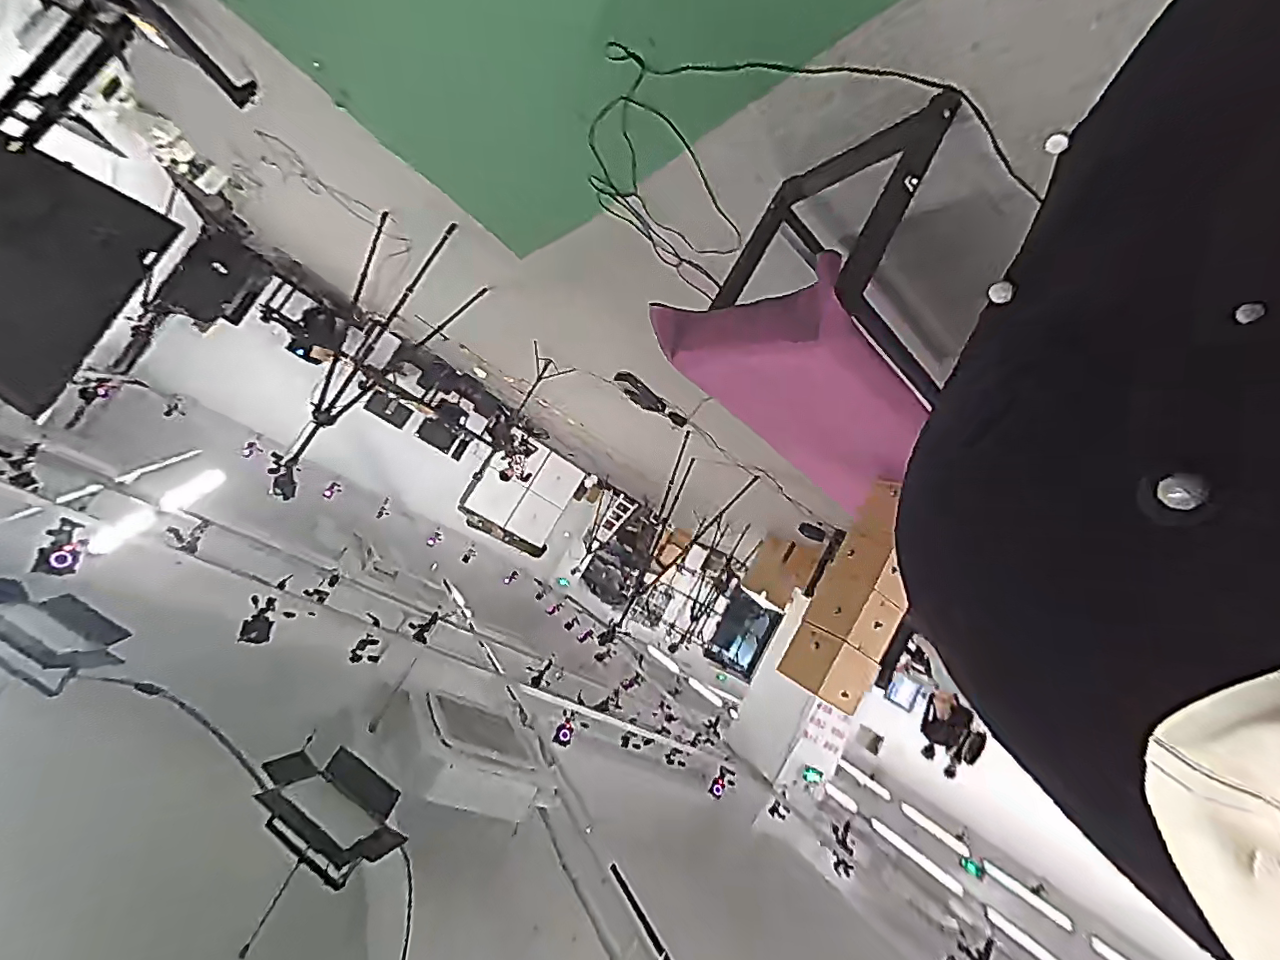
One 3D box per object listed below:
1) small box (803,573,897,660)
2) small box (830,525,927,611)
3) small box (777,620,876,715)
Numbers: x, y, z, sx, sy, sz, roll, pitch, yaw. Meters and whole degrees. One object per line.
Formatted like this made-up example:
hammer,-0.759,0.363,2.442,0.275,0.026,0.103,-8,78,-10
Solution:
small box,0.618,0.390,1.574,0.168,0.176,0.179,36,170,-26
small box,0.704,0.252,1.592,0.179,0.176,0.168,35,171,-28
small box,0.536,0.530,1.546,0.179,0.176,0.168,36,171,-26
